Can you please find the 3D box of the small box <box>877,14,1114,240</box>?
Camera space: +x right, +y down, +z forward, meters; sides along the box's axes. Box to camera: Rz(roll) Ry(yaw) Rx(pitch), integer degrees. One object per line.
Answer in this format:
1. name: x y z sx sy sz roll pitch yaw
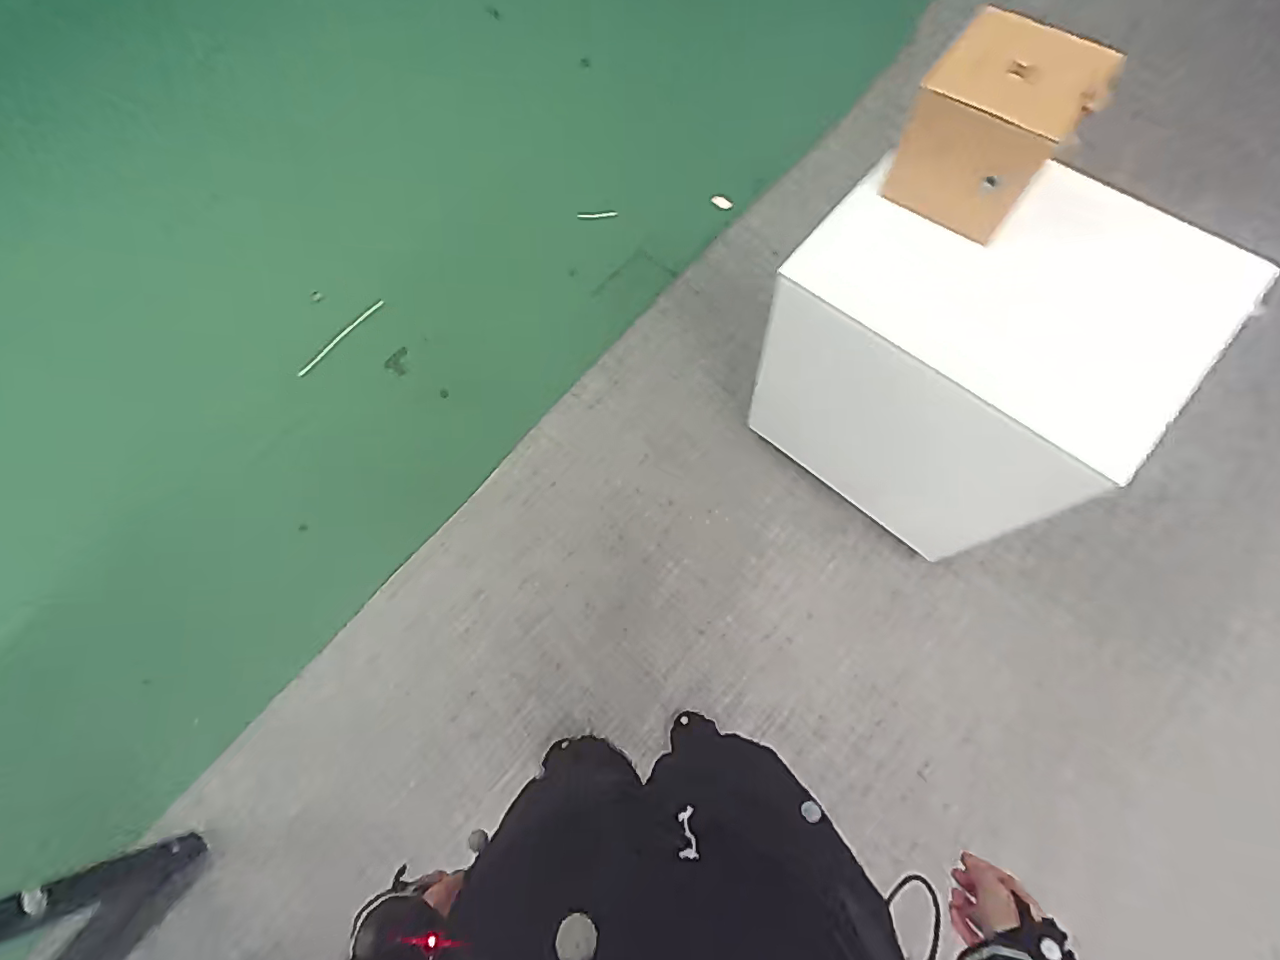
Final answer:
1. small box: 0.458 -0.460 0.727 0.179 0.176 0.168 35 78 16
